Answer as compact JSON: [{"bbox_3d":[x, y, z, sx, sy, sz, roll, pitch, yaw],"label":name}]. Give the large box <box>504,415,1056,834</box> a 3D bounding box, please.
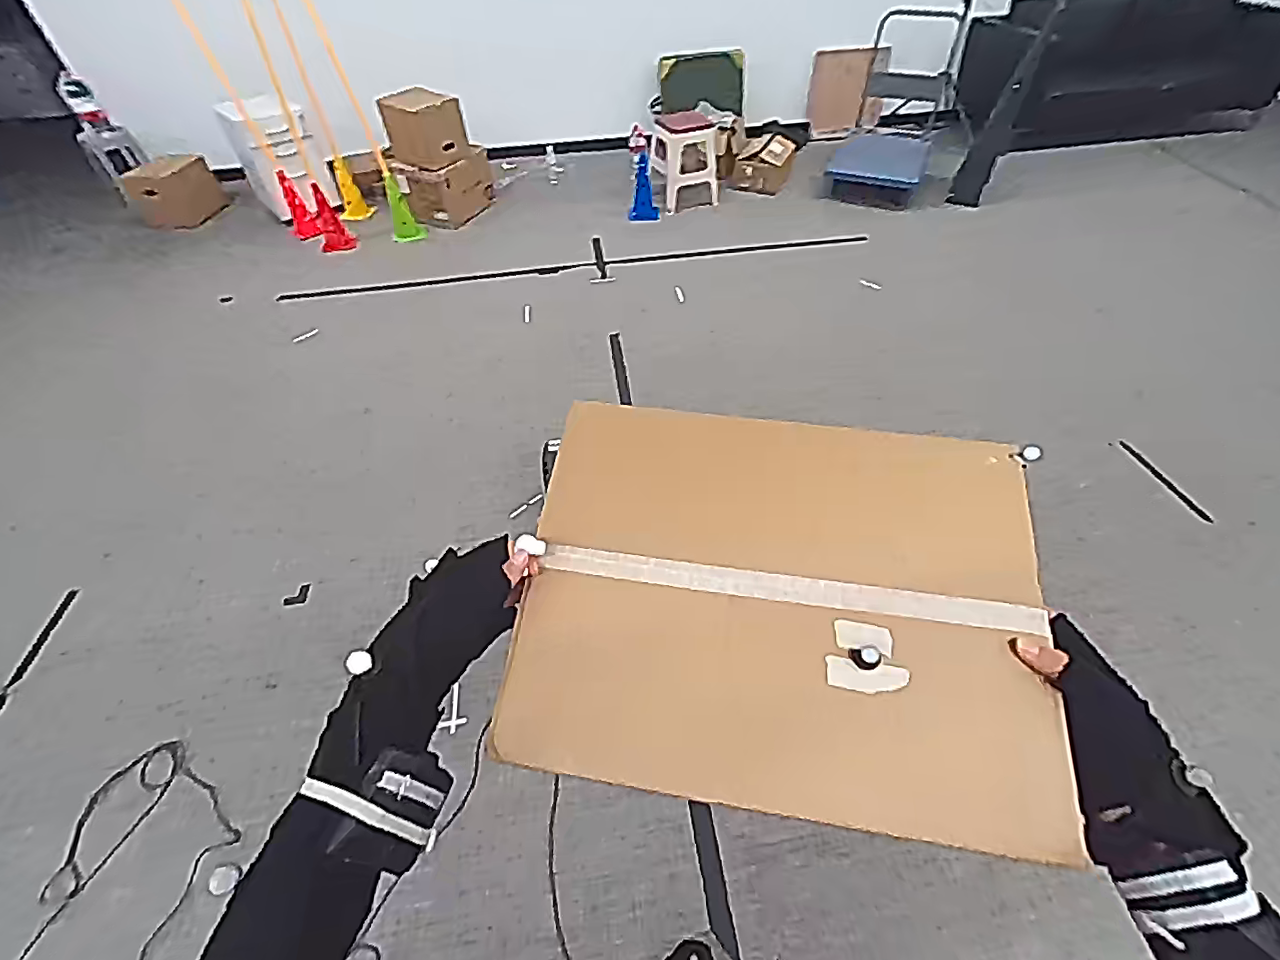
[{"bbox_3d":[0.115,0.154,0.586,0.408,0.320,0.320,6,65,6],"label":"large box"}]
